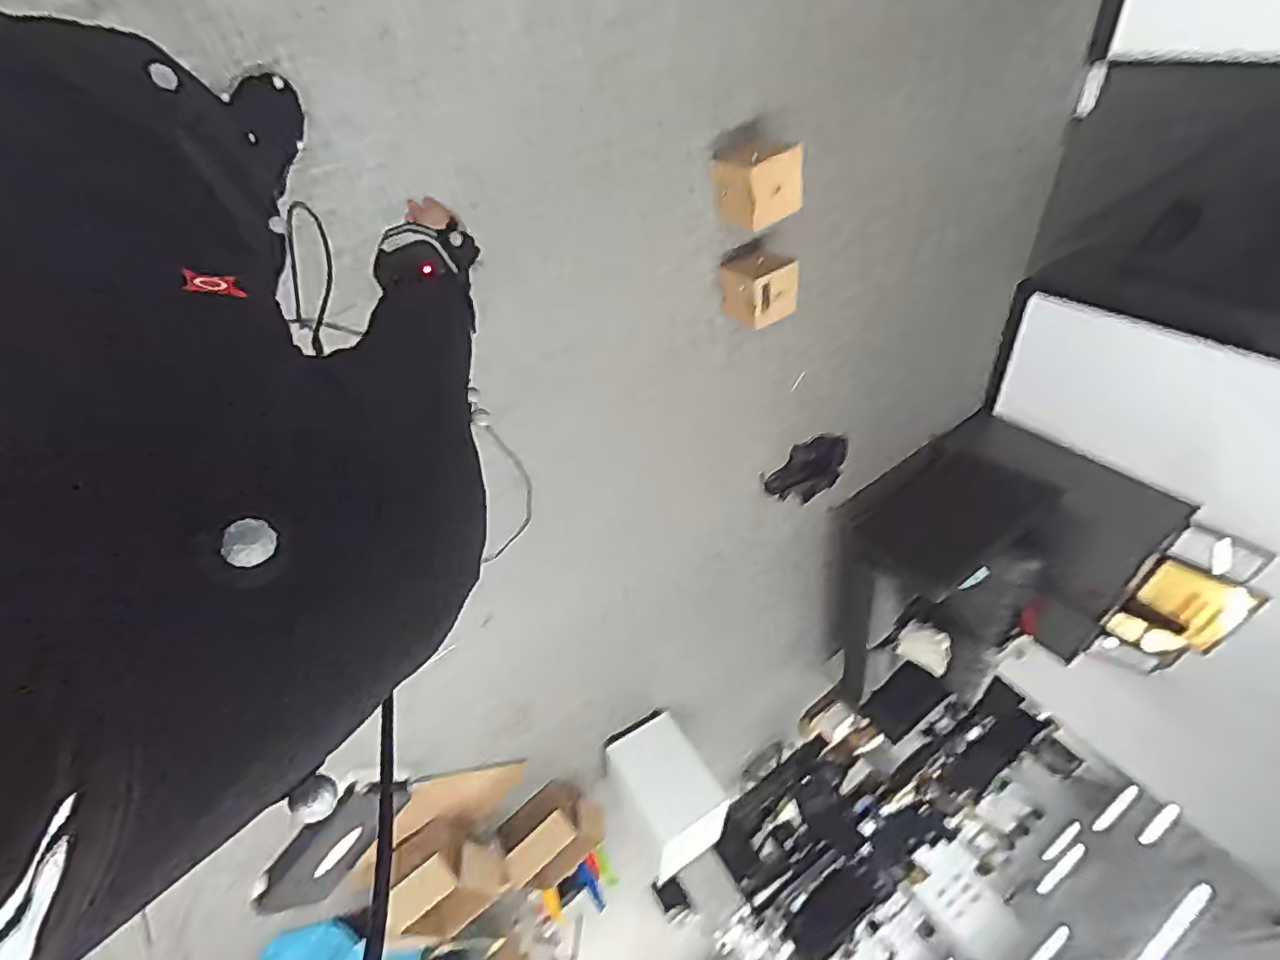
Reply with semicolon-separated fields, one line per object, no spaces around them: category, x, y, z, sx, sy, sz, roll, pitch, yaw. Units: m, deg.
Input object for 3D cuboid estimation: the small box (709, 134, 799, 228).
small box;0.315;-0.829;1.491;0.179;0.176;0.168;-32;138;-14
